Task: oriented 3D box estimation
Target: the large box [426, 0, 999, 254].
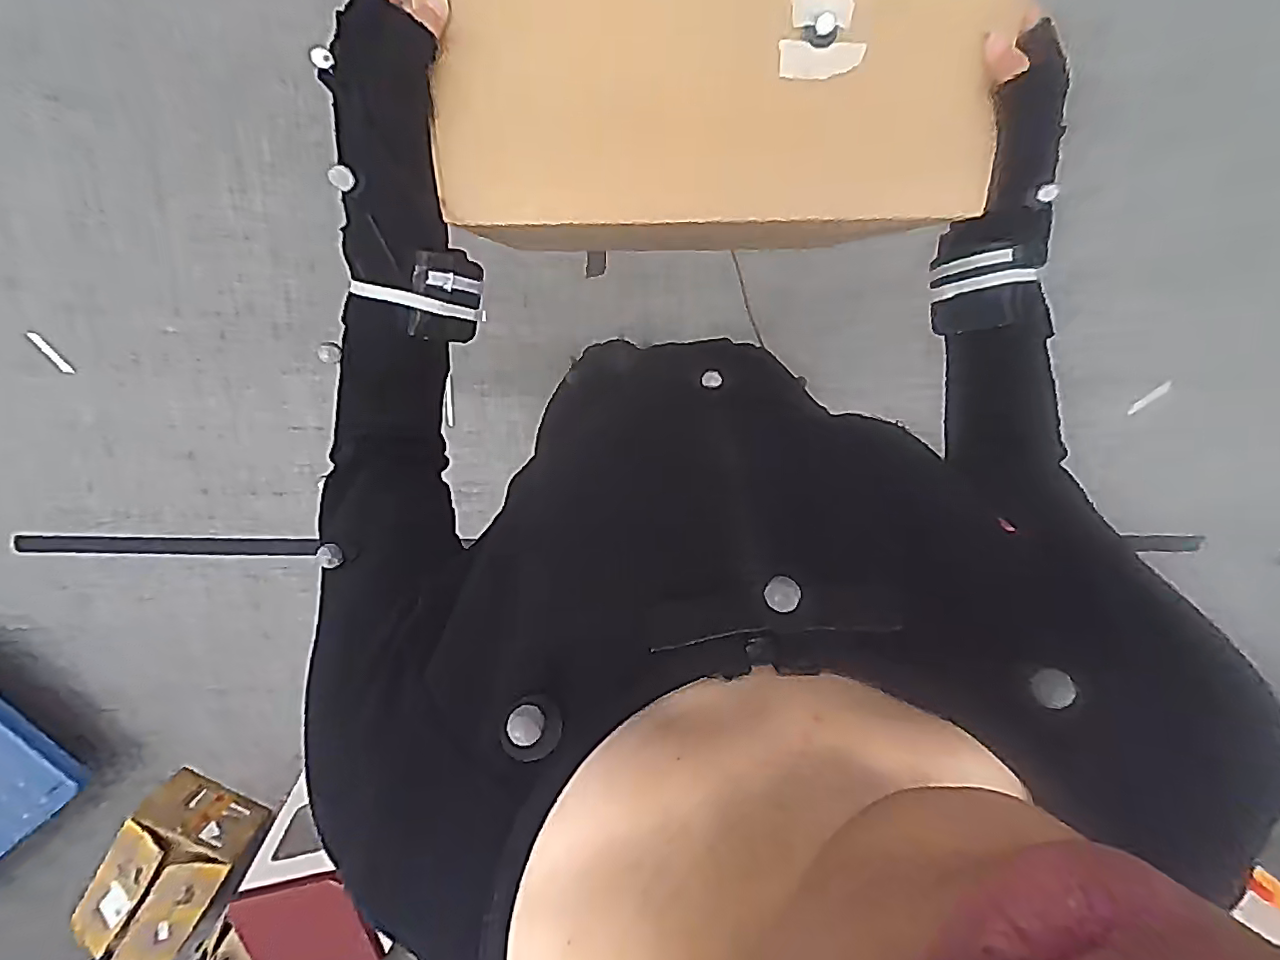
[{"bbox_3d":[0.043,-0.396,0.505,0.408,0.320,0.320,-2,109,-3],"label":"large box"}]
